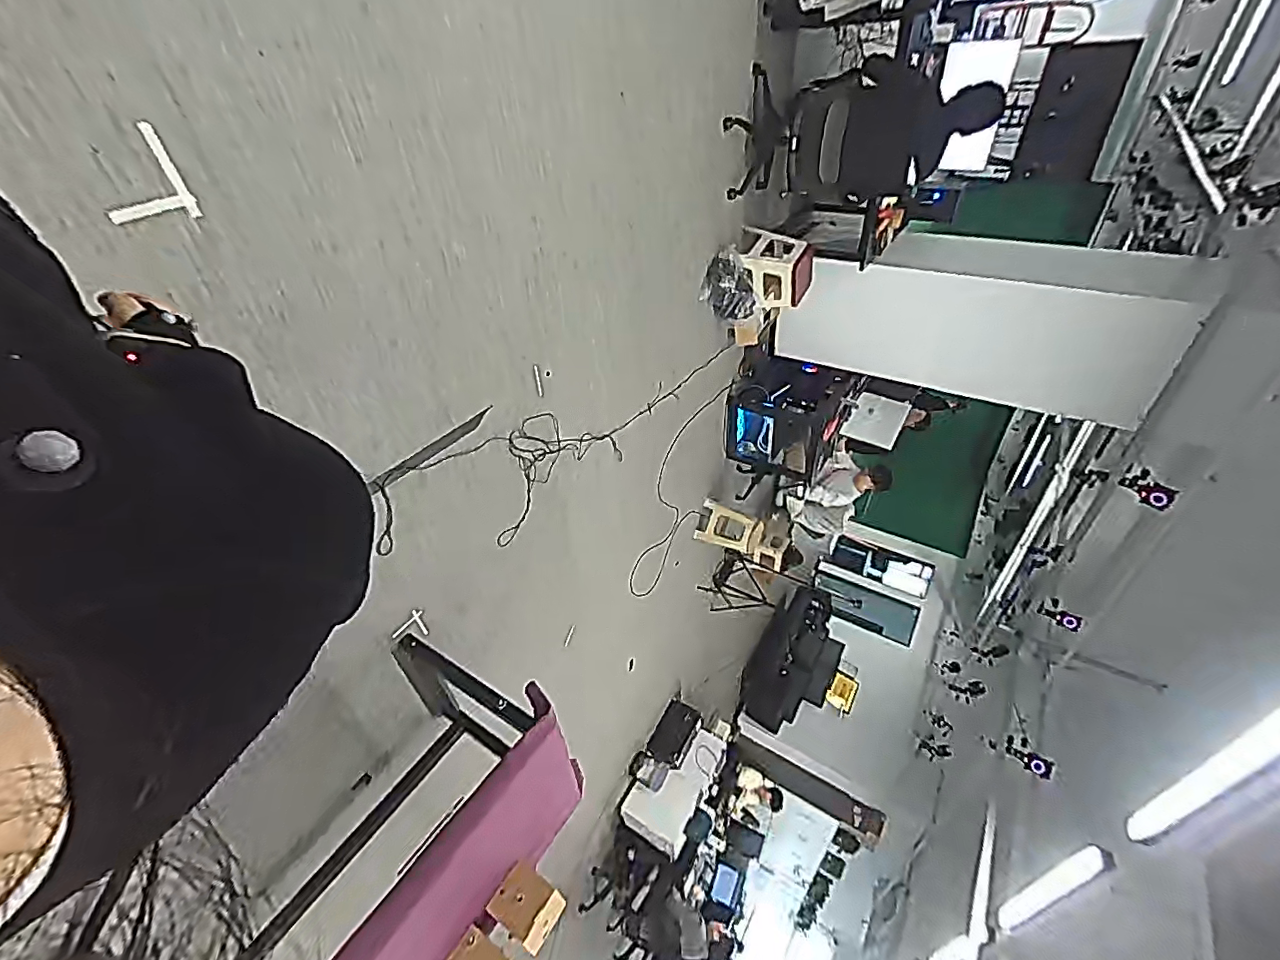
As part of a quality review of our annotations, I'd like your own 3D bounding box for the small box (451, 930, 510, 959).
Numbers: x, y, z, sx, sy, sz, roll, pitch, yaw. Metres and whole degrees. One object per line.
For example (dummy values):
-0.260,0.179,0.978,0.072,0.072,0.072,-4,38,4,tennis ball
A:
-0.489,1.517,1.634,0.168,0.176,0.179,-43,141,-42,small box
